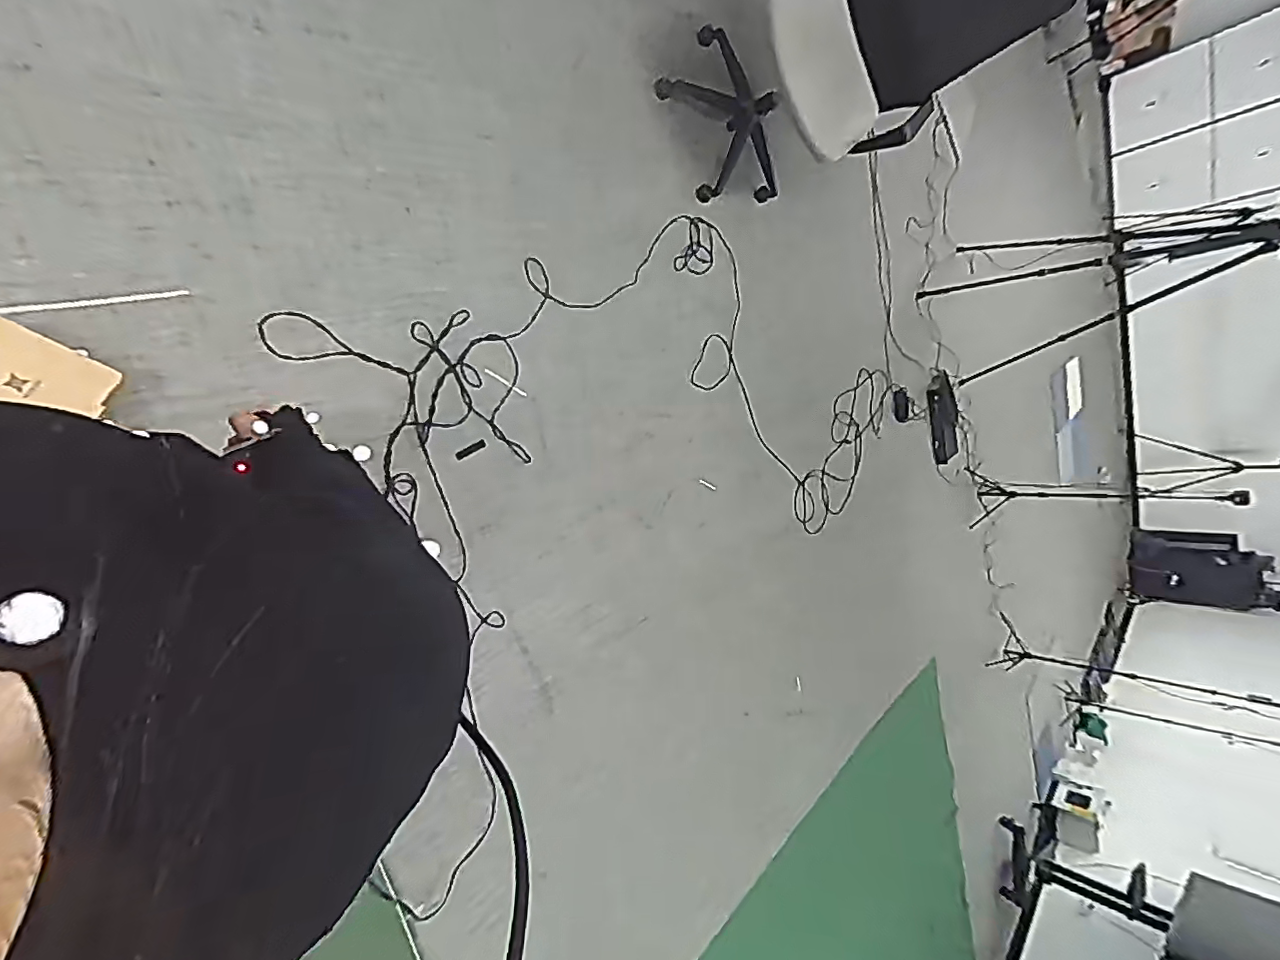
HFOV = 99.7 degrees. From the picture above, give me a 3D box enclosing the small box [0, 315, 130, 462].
[{"bbox_3d":[-0.986,-0.141,0.885,0.179,0.176,0.168,34,69,-35],"label":"small box"}]
